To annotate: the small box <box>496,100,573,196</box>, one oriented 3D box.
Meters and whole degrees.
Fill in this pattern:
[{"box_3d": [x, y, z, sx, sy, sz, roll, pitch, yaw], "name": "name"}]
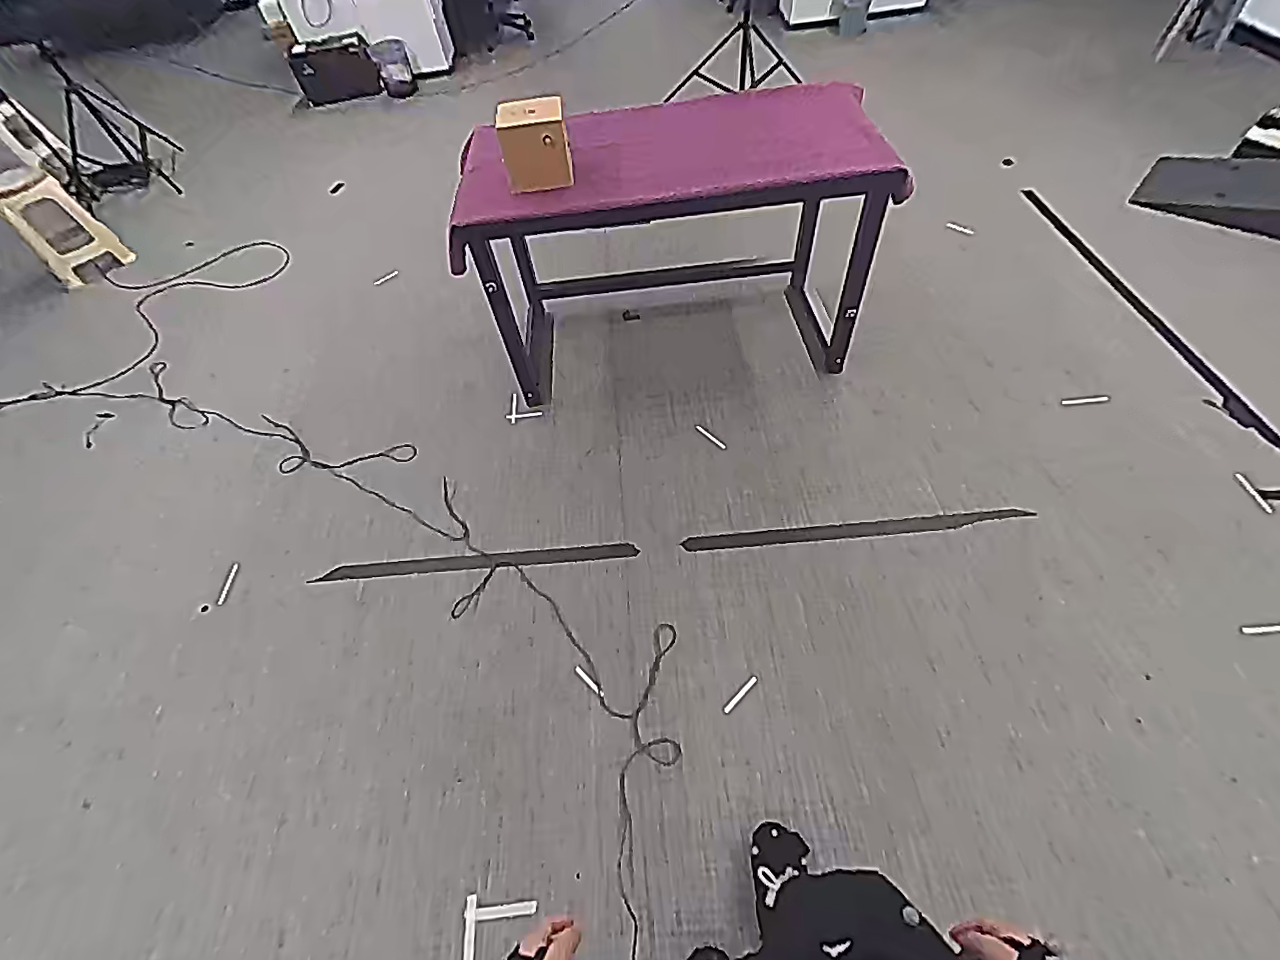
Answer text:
[{"box_3d": [-0.283, -0.913, 1.491, 0.179, 0.176, 0.168, -8, 52, 0], "name": "small box"}]
